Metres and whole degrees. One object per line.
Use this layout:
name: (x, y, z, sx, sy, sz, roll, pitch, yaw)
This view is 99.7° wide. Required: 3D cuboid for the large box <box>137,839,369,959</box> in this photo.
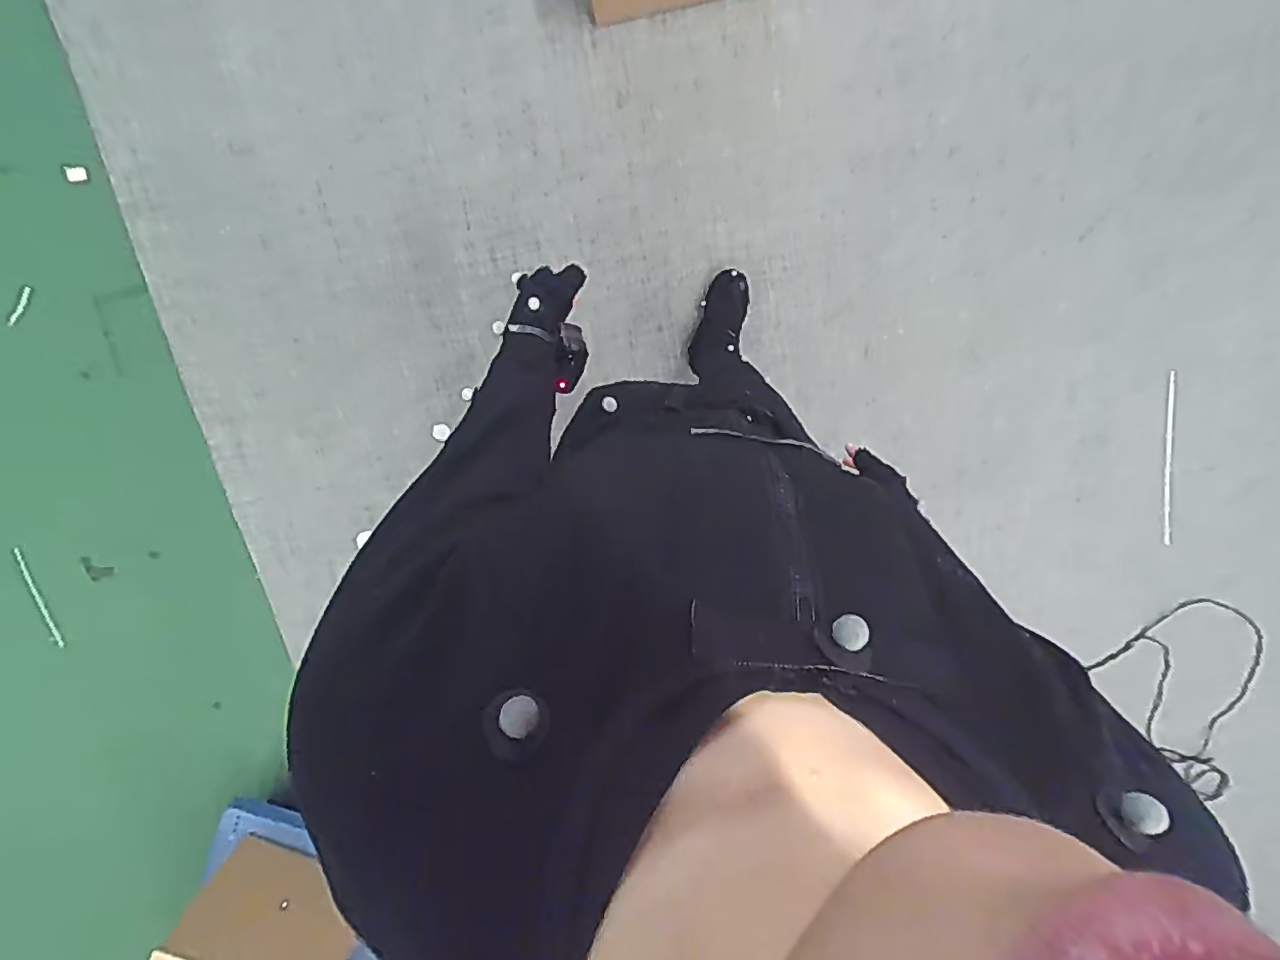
large box: (-1.013, 1.239, 1.413, 0.408, 0.320, 0.320, 25, 103, -6)
